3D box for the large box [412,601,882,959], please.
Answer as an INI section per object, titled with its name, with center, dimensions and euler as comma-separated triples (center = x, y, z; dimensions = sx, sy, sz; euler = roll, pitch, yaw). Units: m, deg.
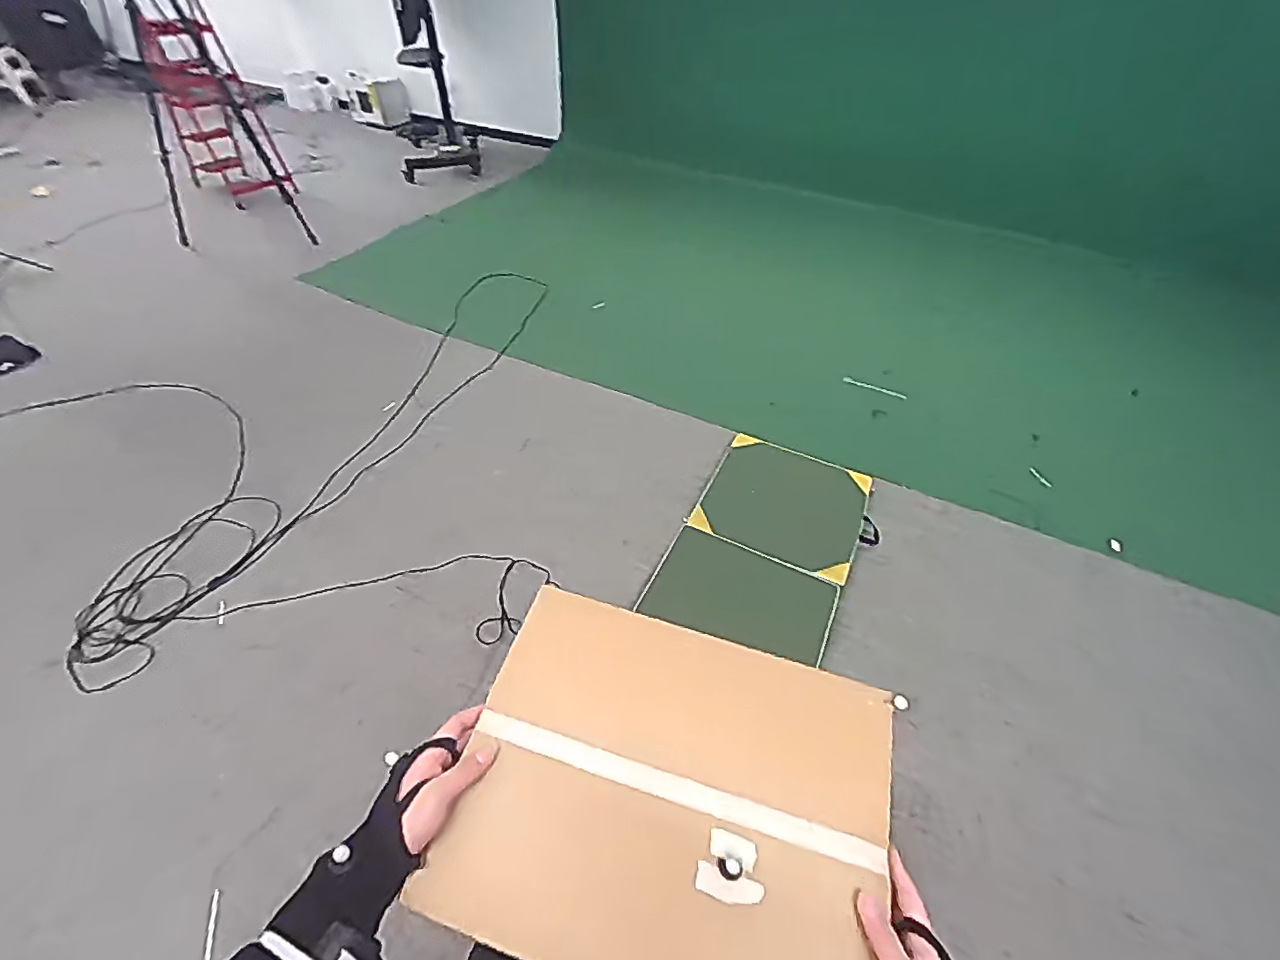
[large box]
center = 0.025, 0.394, 0.646
dimensions = 0.408, 0.320, 0.320
euler = 15, 54, 9
